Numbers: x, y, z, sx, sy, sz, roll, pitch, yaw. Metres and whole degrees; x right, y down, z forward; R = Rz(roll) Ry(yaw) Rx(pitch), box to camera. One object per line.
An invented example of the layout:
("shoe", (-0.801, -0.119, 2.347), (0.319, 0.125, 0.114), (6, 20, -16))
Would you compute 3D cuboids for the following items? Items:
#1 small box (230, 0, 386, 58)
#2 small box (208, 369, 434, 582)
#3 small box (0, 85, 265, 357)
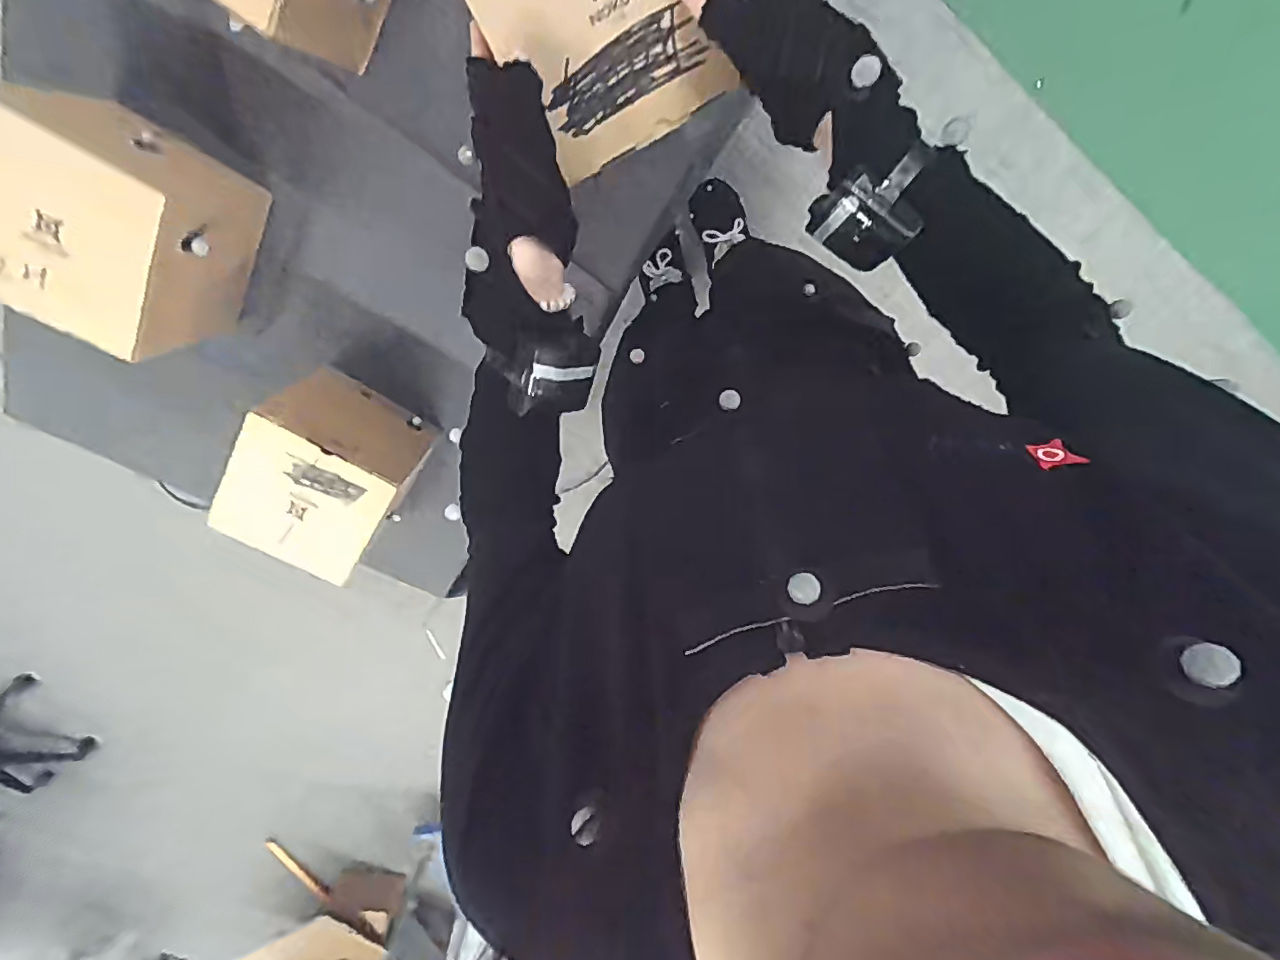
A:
("small box", (-0.313, -0.487, 0.434), (0.179, 0.176, 0.168), (30, 113, -17))
("small box", (-0.385, -0.013, 0.685), (0.168, 0.176, 0.179), (32, 114, -16))
("small box", (-0.522, -0.259, 0.546), (0.168, 0.176, 0.179), (29, 114, -16))
